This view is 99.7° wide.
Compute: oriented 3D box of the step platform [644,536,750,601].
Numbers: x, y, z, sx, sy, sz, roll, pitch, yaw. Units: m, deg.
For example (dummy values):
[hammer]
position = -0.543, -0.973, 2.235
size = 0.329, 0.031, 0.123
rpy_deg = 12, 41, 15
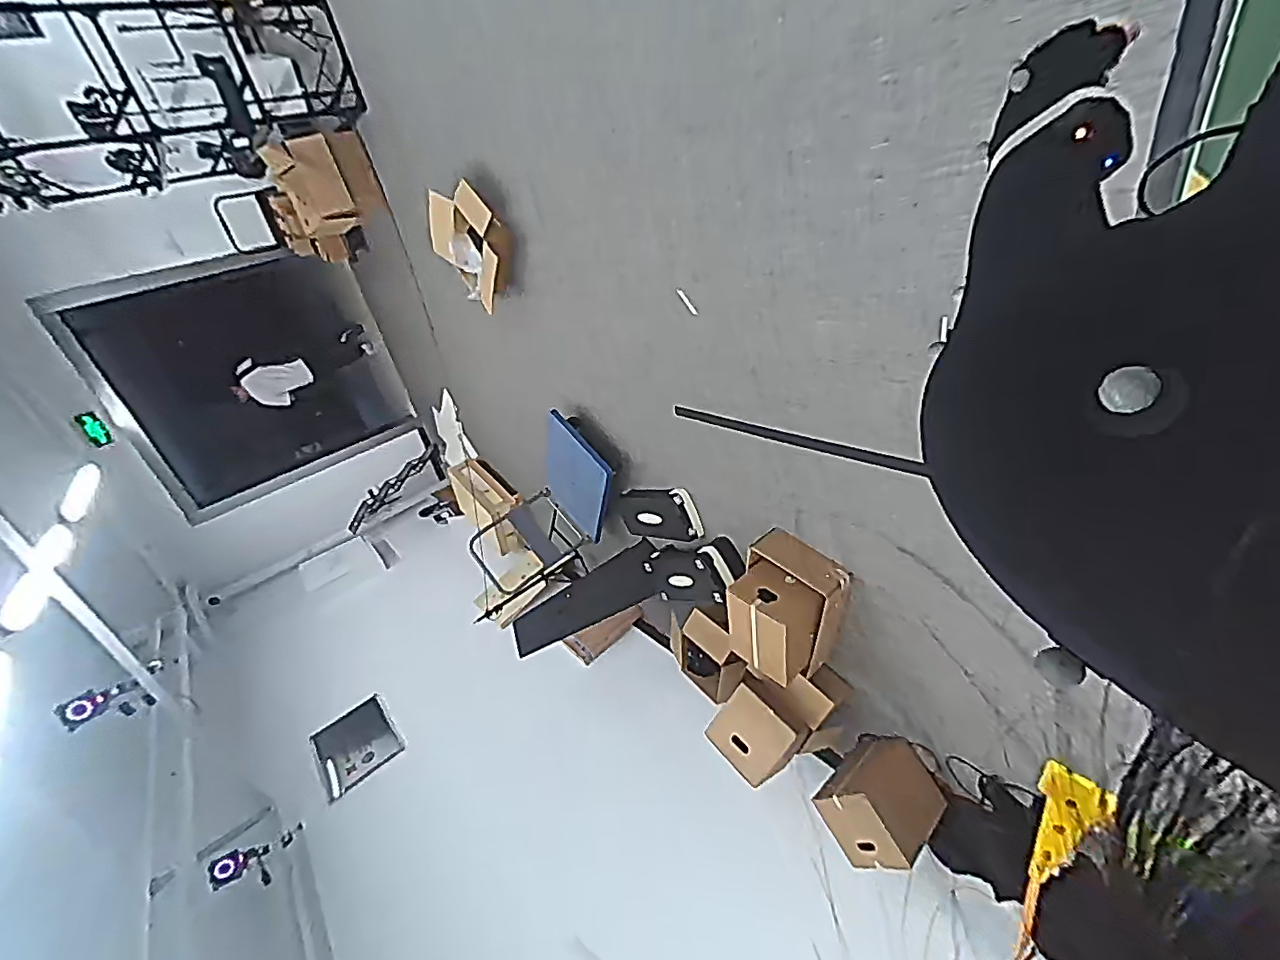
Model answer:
[step platform]
position = 0.288, 0.502, 2.989
size = 0.286, 0.204, 0.684
rpy_deg = 61, 150, -4
